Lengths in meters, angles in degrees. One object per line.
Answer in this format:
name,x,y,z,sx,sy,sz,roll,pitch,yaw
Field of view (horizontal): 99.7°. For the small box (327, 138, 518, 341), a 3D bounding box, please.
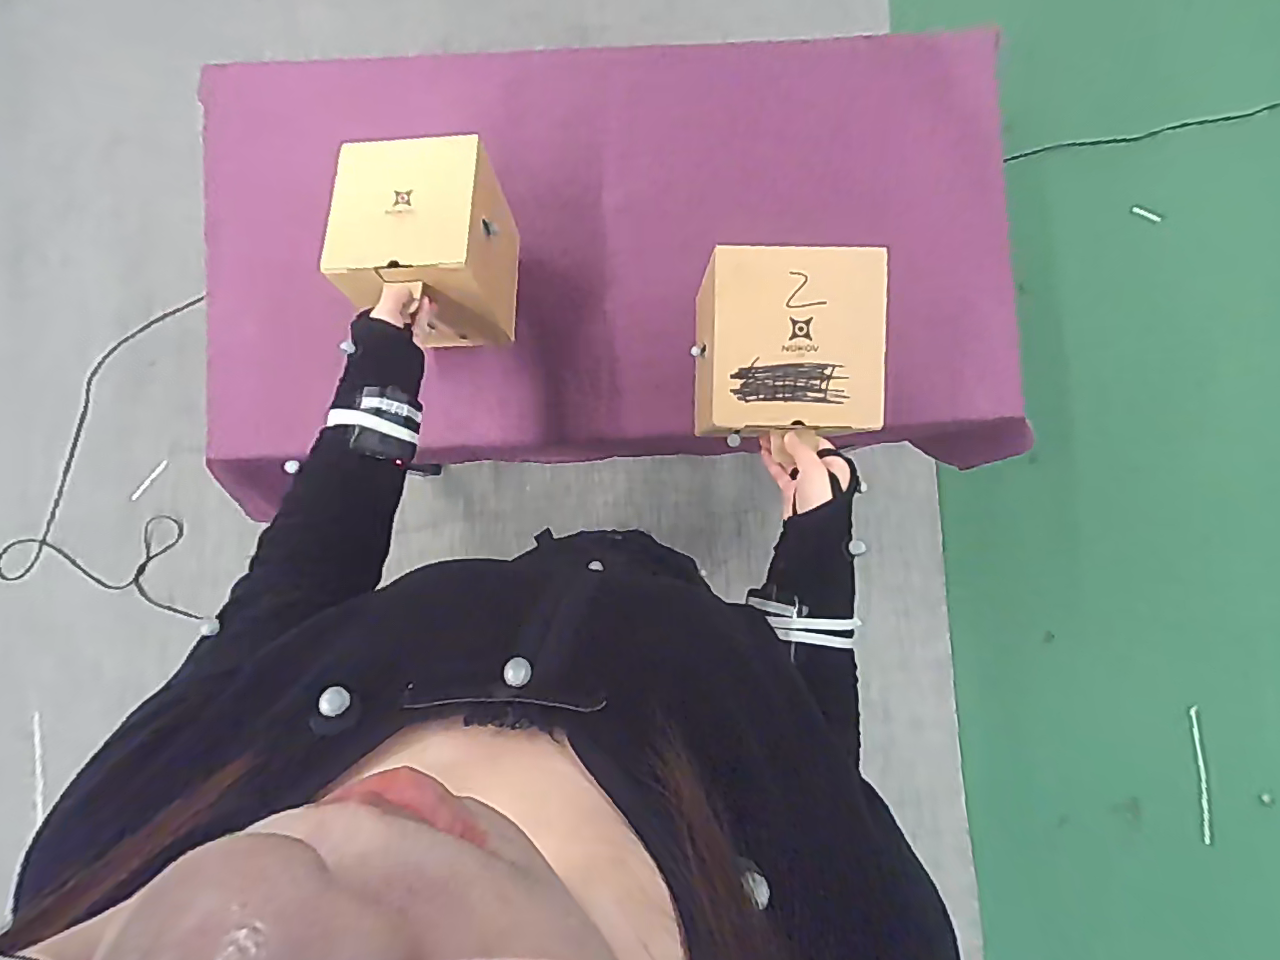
small box,-0.262,-0.299,0.695,0.168,0.176,0.179,-1,75,4
